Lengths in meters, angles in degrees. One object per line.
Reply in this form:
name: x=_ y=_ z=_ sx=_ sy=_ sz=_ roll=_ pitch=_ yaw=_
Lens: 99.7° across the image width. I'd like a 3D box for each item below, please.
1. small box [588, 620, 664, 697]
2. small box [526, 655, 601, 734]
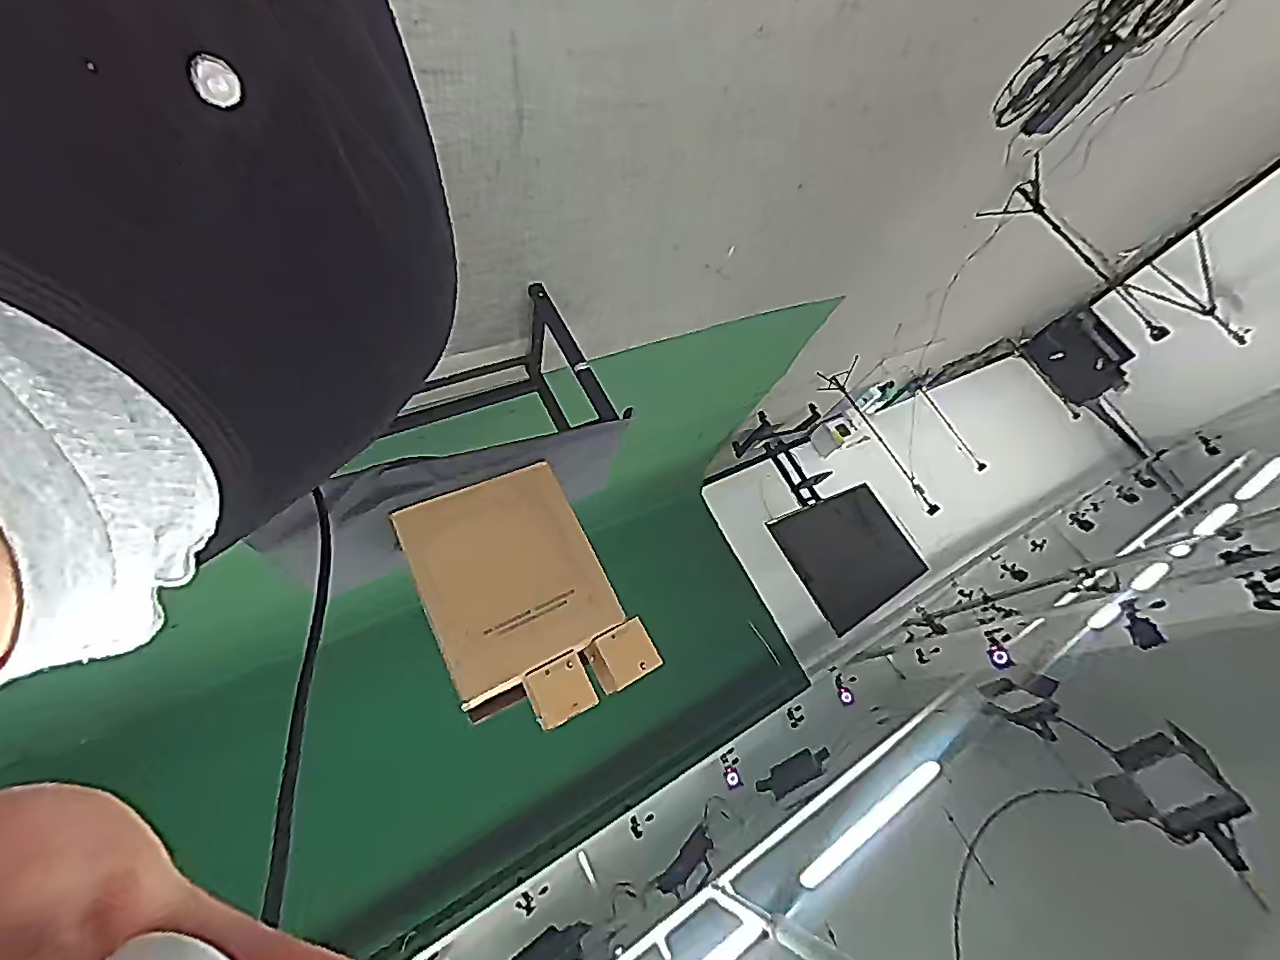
small box: x=-0.053 y=0.577 z=1.755 sx=0.168 sy=0.176 sz=0.179 roll=-24 pitch=163 yaw=-28
small box: x=-0.241 y=0.657 z=1.664 sx=0.168 sy=0.176 sz=0.179 roll=-22 pitch=162 yaw=-24
